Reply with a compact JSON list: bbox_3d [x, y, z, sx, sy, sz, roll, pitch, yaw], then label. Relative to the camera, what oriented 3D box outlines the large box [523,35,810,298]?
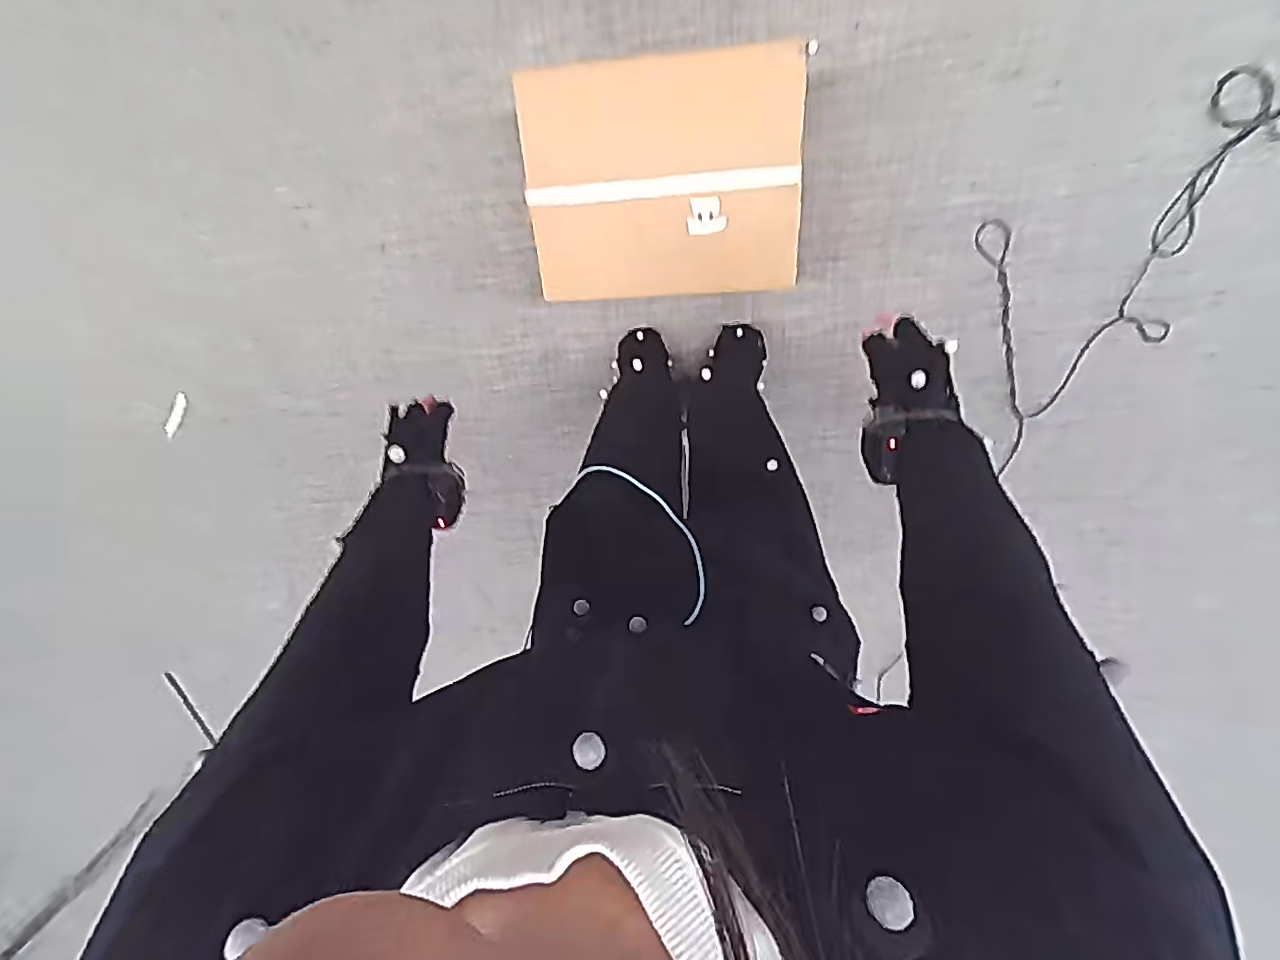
[{"bbox_3d":[0.054,-0.511,0.938,0.408,0.320,0.320,-1,117,7],"label":"large box"}]
